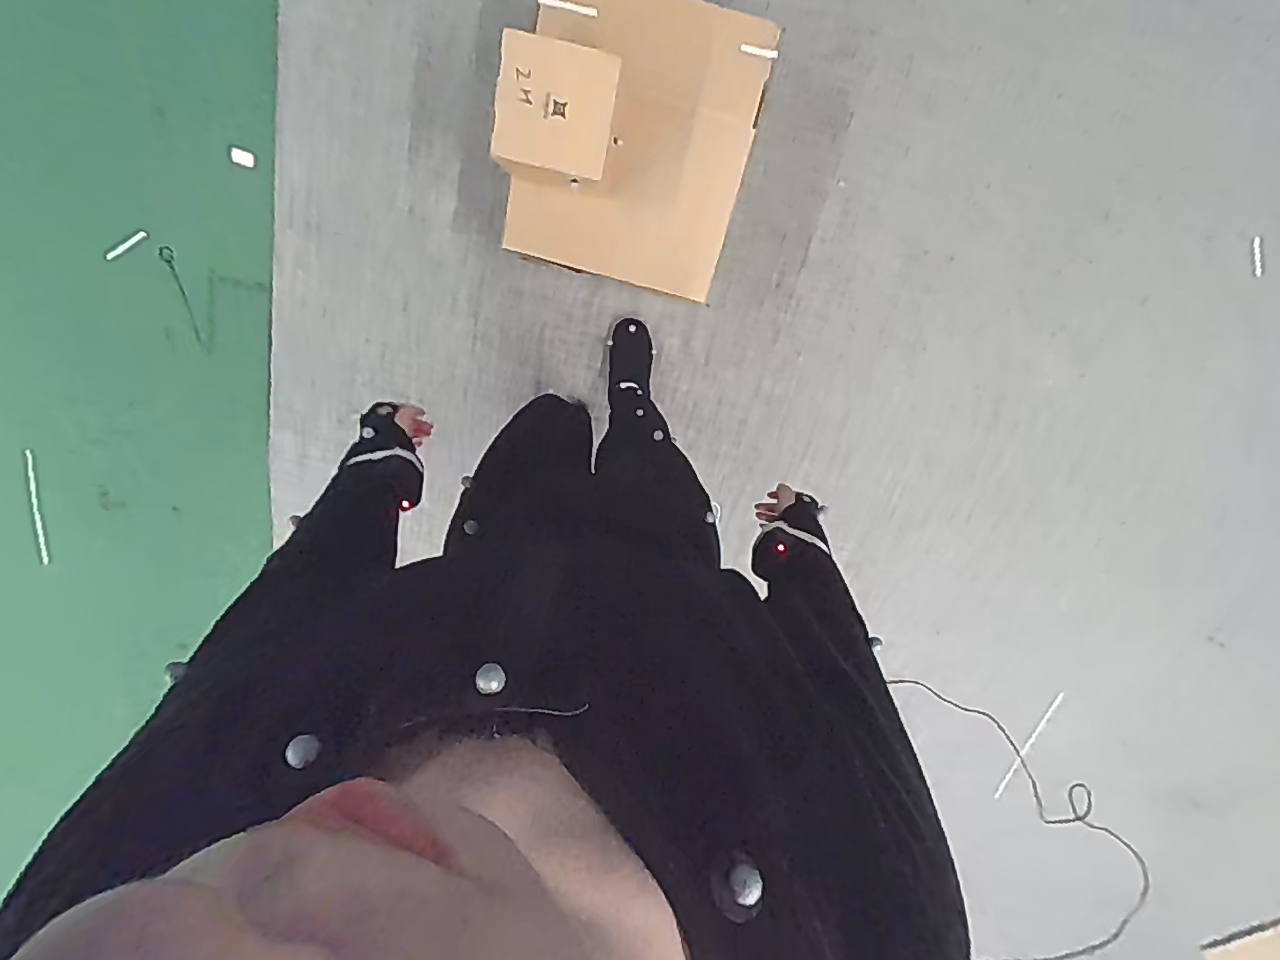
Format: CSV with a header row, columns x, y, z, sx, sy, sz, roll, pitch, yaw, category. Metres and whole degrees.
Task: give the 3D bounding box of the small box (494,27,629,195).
x,y,z,sx,sy,sz,roll,pitch,yaw,category
-0.118,-0.576,0.872,0.179,0.176,0.168,13,109,-3,small box
